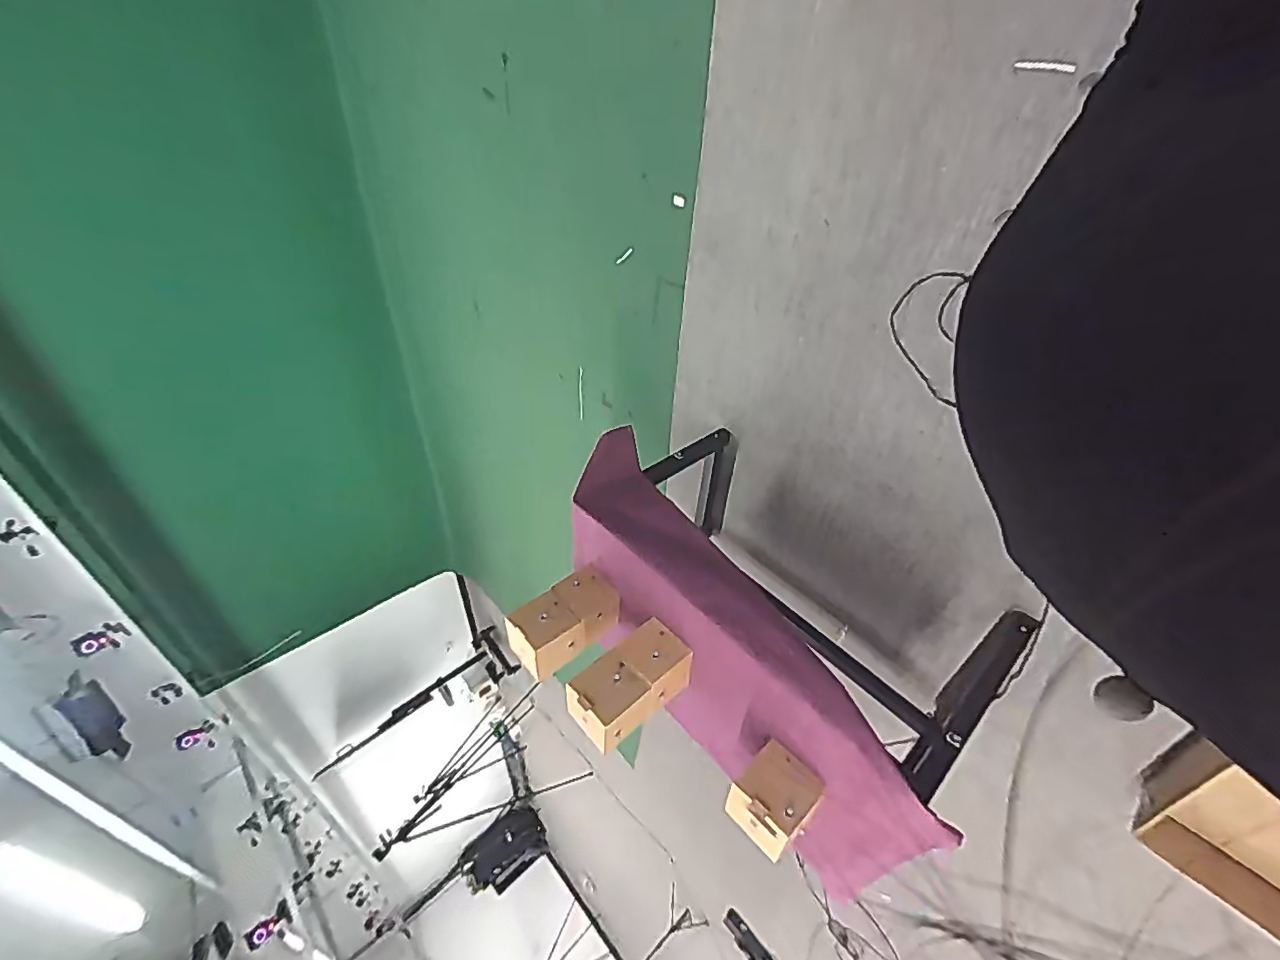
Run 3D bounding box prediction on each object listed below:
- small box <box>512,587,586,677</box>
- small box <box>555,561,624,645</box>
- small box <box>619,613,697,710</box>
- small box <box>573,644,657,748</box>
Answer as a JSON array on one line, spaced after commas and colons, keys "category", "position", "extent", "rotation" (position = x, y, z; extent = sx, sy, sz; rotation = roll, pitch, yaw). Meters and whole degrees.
[{"category": "small box", "position": [-0.281, 0.471, 1.702], "extent": [0.168, 0.176, 0.179], "rotation": [38, 140, 33]}, {"category": "small box", "position": [-0.165, 0.402, 1.794], "extent": [0.168, 0.176, 0.179], "rotation": [37, 141, 32]}, {"category": "small box", "position": [0.054, 0.528, 1.597], "extent": [0.168, 0.176, 0.179], "rotation": [34, 140, 34]}, {"category": "small box", "position": [-0.070, 0.600, 1.513], "extent": [0.168, 0.176, 0.179], "rotation": [37, 140, 32]}]
